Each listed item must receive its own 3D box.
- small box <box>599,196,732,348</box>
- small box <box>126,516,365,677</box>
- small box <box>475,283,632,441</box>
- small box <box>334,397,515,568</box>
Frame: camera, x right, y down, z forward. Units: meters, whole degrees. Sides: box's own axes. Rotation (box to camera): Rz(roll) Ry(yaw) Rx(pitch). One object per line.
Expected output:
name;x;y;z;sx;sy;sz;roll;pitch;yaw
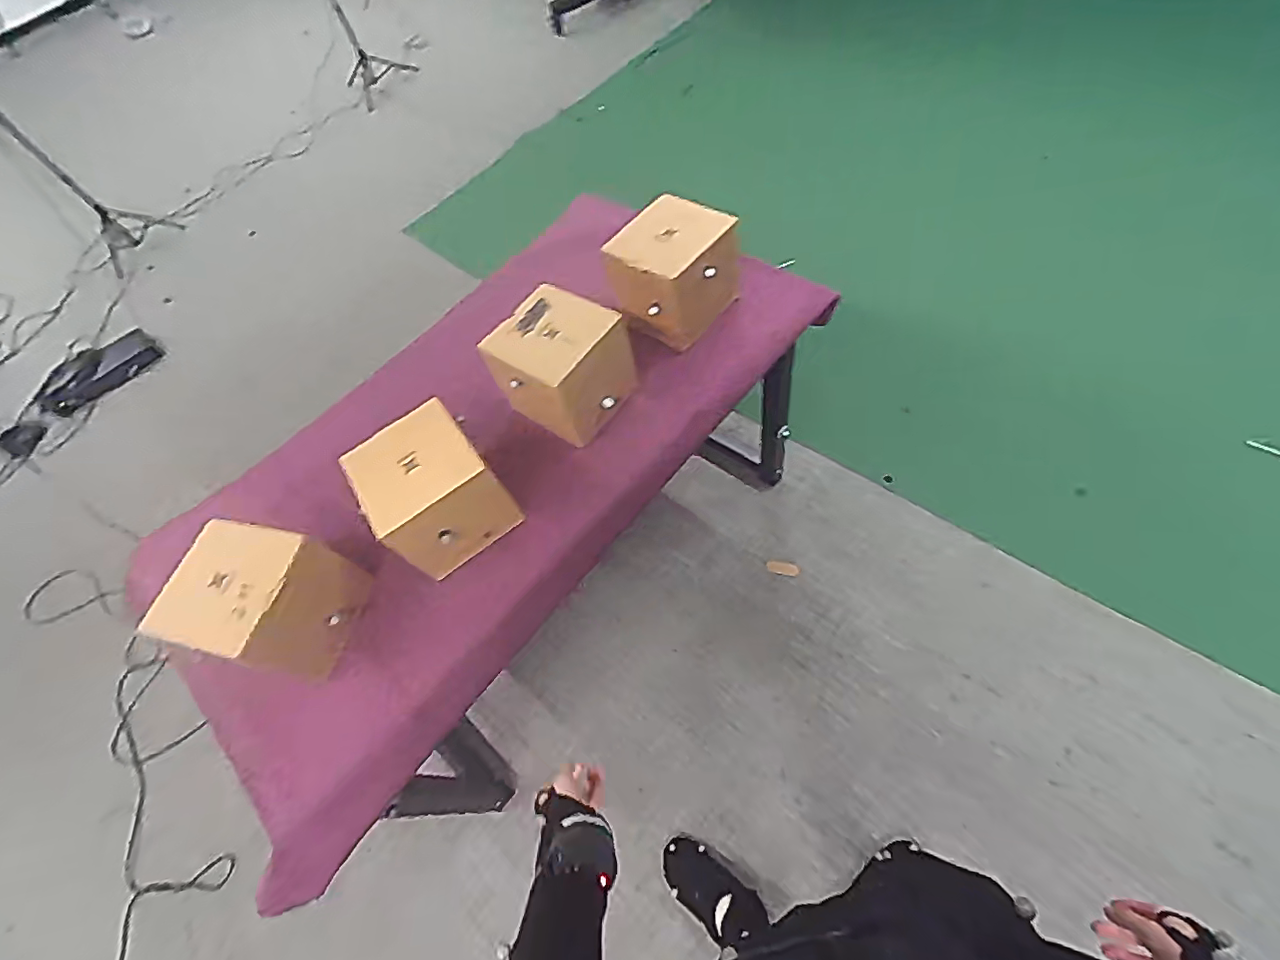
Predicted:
small box;0.056;-0.373;0.985;0.168;0.176;0.179;35;71;27
small box;-0.543;0.170;0.772;0.179;0.176;0.168;8;62;14
small box;-0.137;-0.194;0.916;0.179;0.176;0.168;30;69;24
small box;-0.319;0.014;0.828;0.168;0.176;0.179;-36;59;-11
